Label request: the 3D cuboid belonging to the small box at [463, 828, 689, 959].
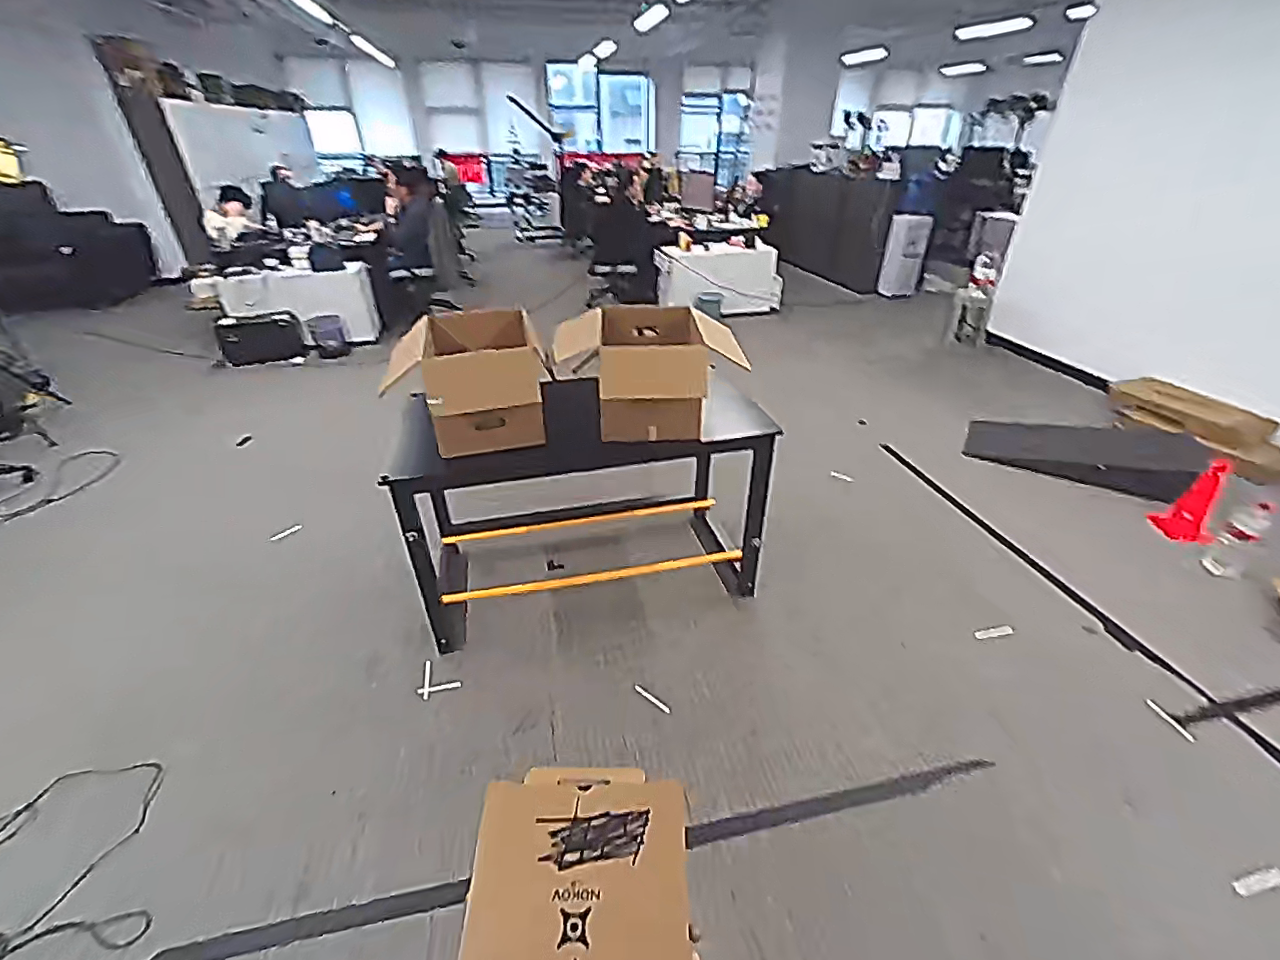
[{"bbox_3d":[-0.046,0.406,0.444,0.168,0.176,0.179,-1,48,0],"label":"small box"}]
